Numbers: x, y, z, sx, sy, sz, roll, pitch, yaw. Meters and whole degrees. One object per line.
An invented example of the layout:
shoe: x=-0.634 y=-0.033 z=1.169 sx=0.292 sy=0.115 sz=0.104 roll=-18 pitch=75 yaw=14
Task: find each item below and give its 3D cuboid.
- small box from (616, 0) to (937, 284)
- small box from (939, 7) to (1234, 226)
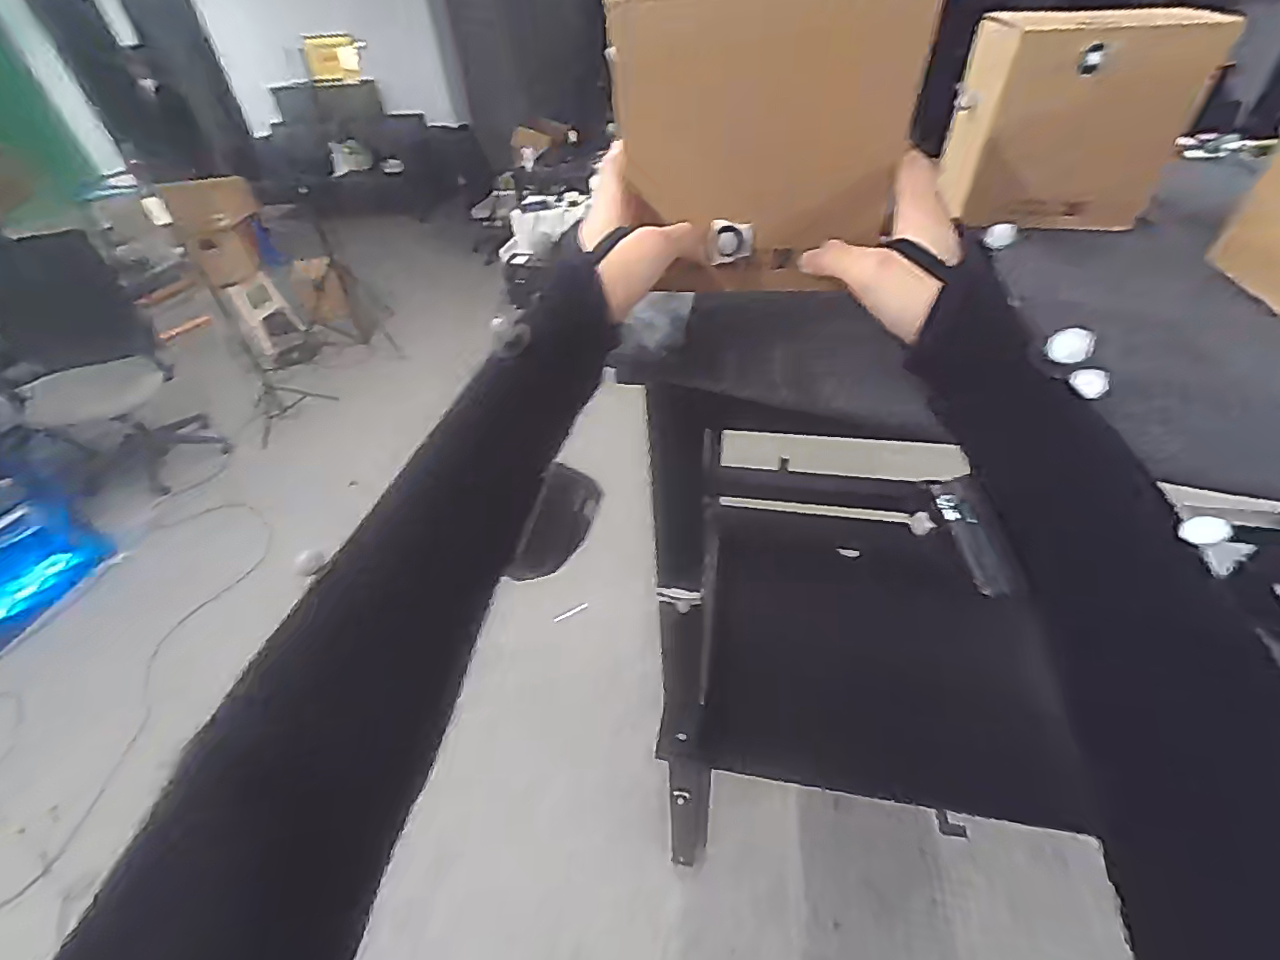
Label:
small box: x=0.079 y=-0.258 z=0.381 sx=0.168 sy=0.176 sz=0.179 roll=1 pitch=48 yaw=6
small box: x=0.438 y=-0.387 z=0.576 sx=0.168 sy=0.176 sz=0.179 roll=8 pitch=43 yaw=14
